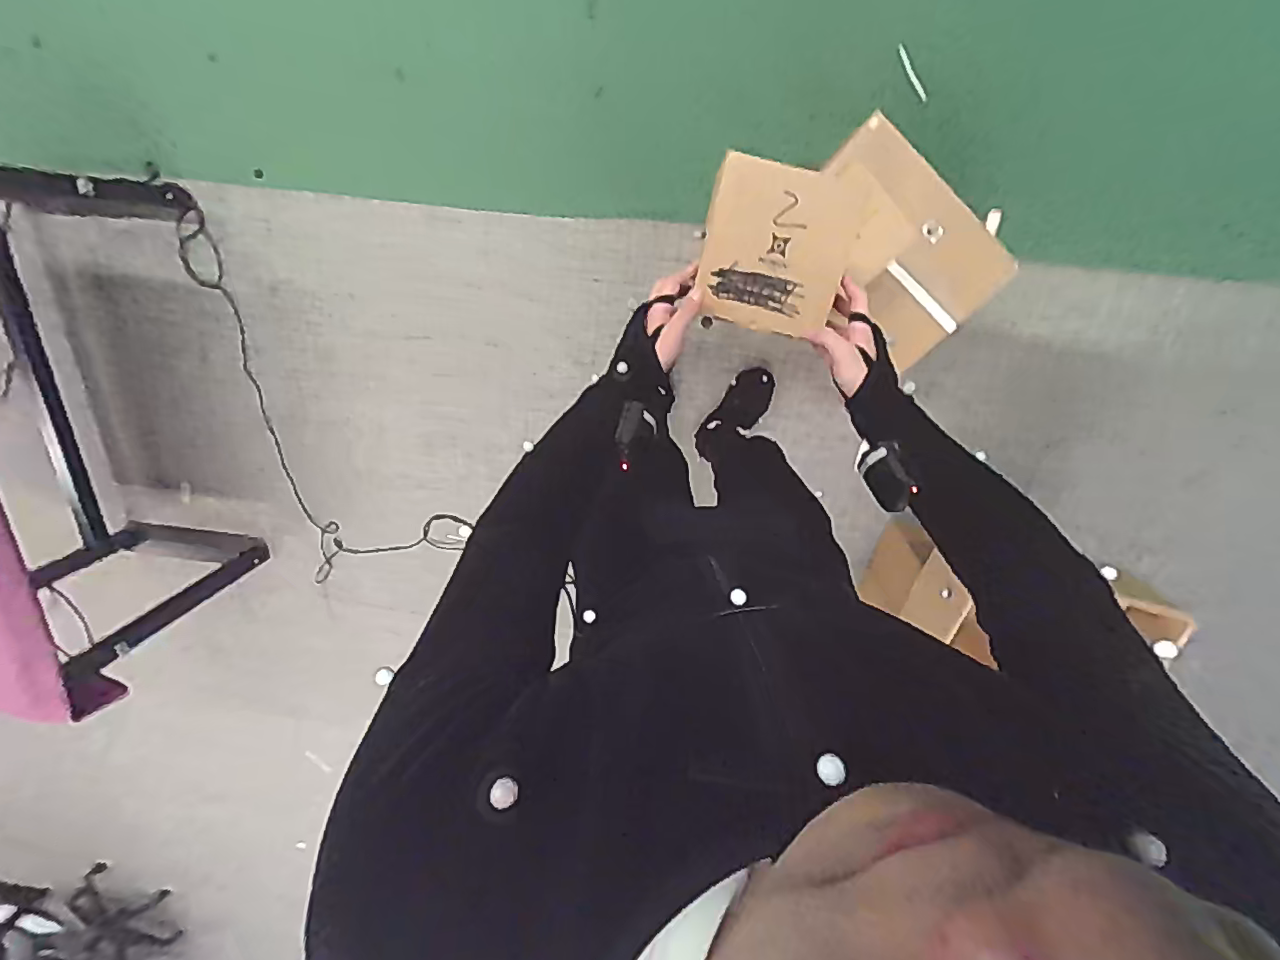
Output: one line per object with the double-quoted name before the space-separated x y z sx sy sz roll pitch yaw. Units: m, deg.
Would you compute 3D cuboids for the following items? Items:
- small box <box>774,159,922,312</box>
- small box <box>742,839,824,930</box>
"small box" 0.357 -0.430 0.971 0.168 0.176 0.179 44 111 -11
"small box" 0.426 1.233 1.628 0.168 0.176 0.179 -38 102 19
